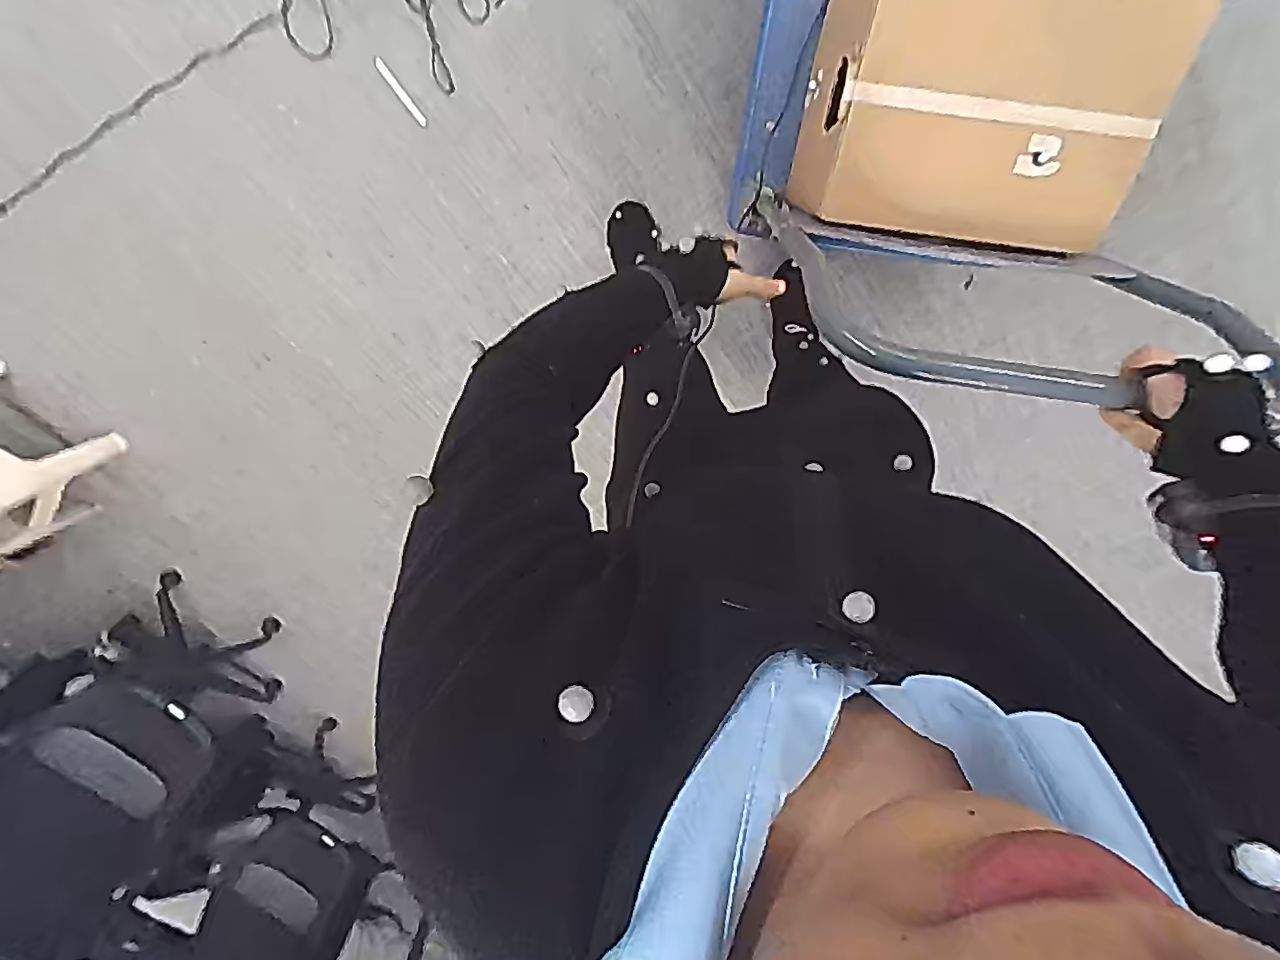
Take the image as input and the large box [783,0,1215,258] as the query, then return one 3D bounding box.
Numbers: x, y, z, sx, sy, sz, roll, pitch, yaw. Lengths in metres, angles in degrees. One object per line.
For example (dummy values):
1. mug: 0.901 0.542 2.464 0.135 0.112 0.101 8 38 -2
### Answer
1. large box: 0.474 -0.548 0.832 0.408 0.320 0.320 6 122 -1
